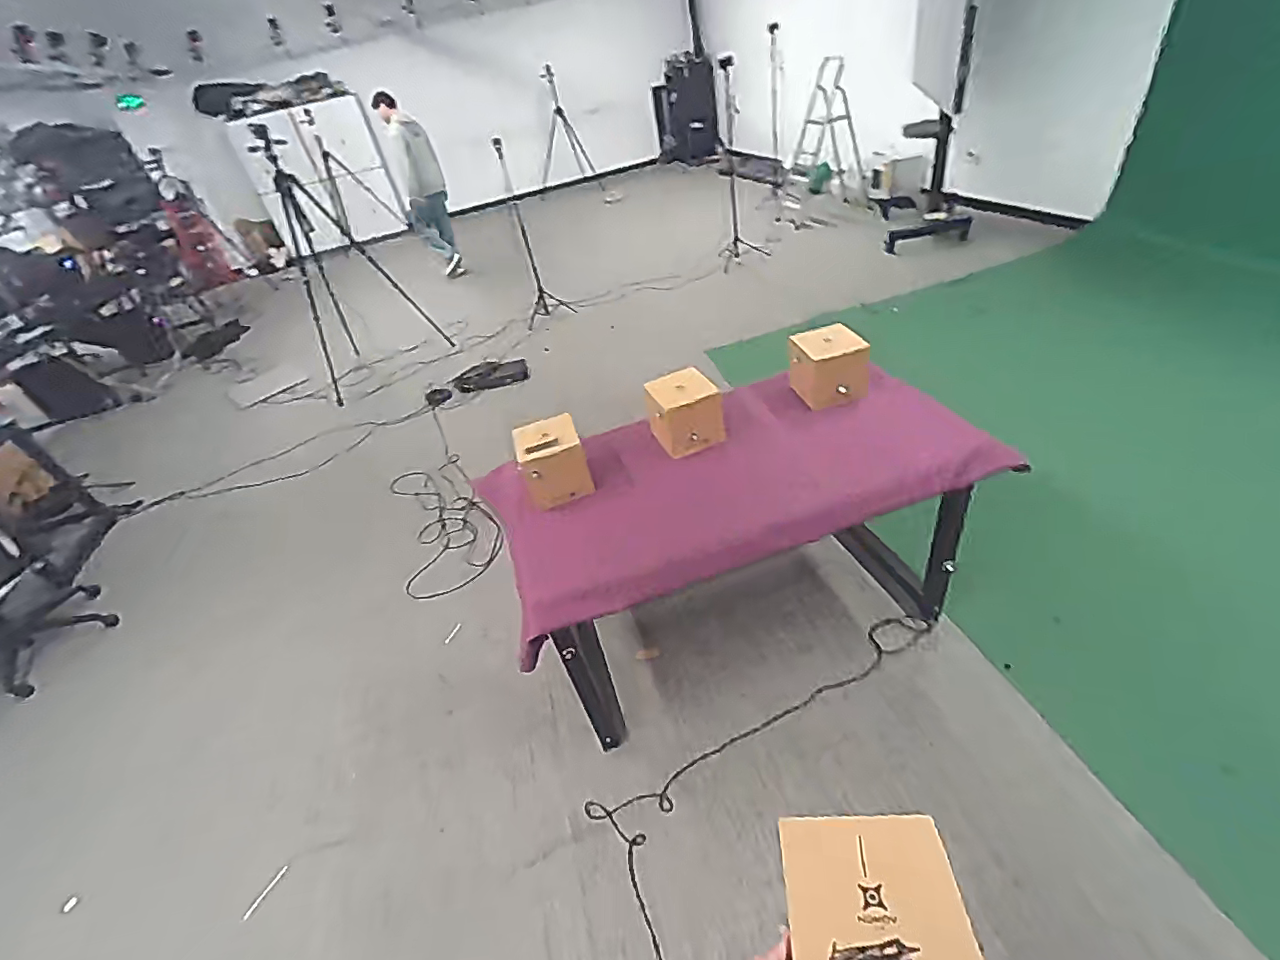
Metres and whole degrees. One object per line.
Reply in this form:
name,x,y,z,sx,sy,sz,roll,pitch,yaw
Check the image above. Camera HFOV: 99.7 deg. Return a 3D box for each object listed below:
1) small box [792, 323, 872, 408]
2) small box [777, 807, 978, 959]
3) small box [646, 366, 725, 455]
small box,0.559,-0.338,1.599,0.168,0.176,0.179,-15,39,-1
small box,0.243,0.478,0.565,0.168,0.176,0.179,-9,28,12
small box,0.131,-0.198,1.551,0.168,0.176,0.179,-21,40,-11
